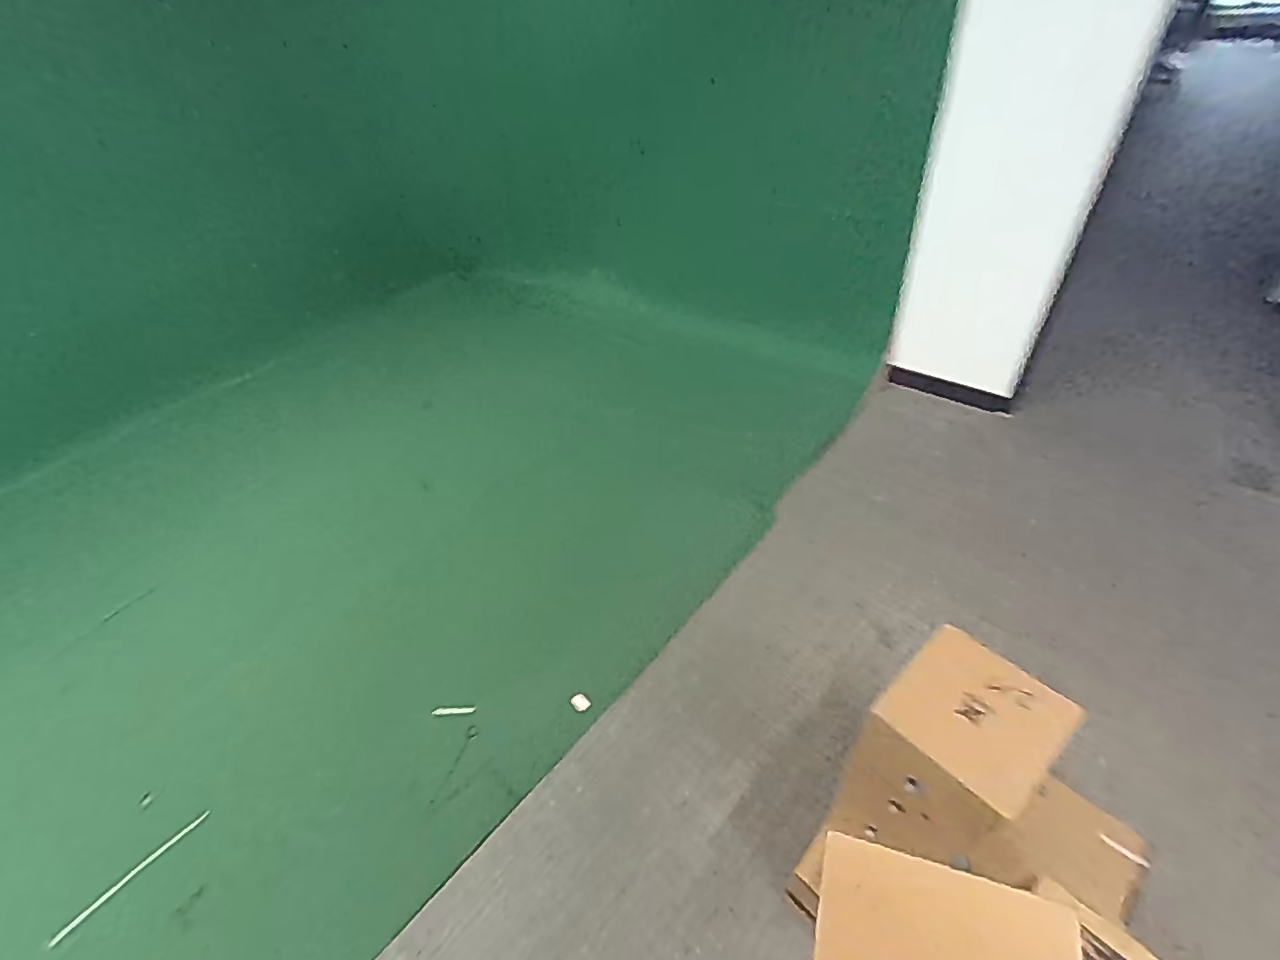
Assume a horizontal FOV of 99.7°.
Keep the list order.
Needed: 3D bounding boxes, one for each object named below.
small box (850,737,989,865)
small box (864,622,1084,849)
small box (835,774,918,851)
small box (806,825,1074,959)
[{"bbox_3d":[0.437,0.441,0.813,0.179,0.176,0.168,28,55,37],"label":"small box"},{"bbox_3d":[0.412,0.329,0.698,0.179,0.176,0.168,-34,48,-23],"label":"small box"},{"bbox_3d":[0.456,0.556,0.934,0.168,0.176,0.179,31,56,35],"label":"small box"},{"bbox_3d":[0.219,0.397,0.426,0.168,0.176,0.179,4,60,22],"label":"small box"}]
